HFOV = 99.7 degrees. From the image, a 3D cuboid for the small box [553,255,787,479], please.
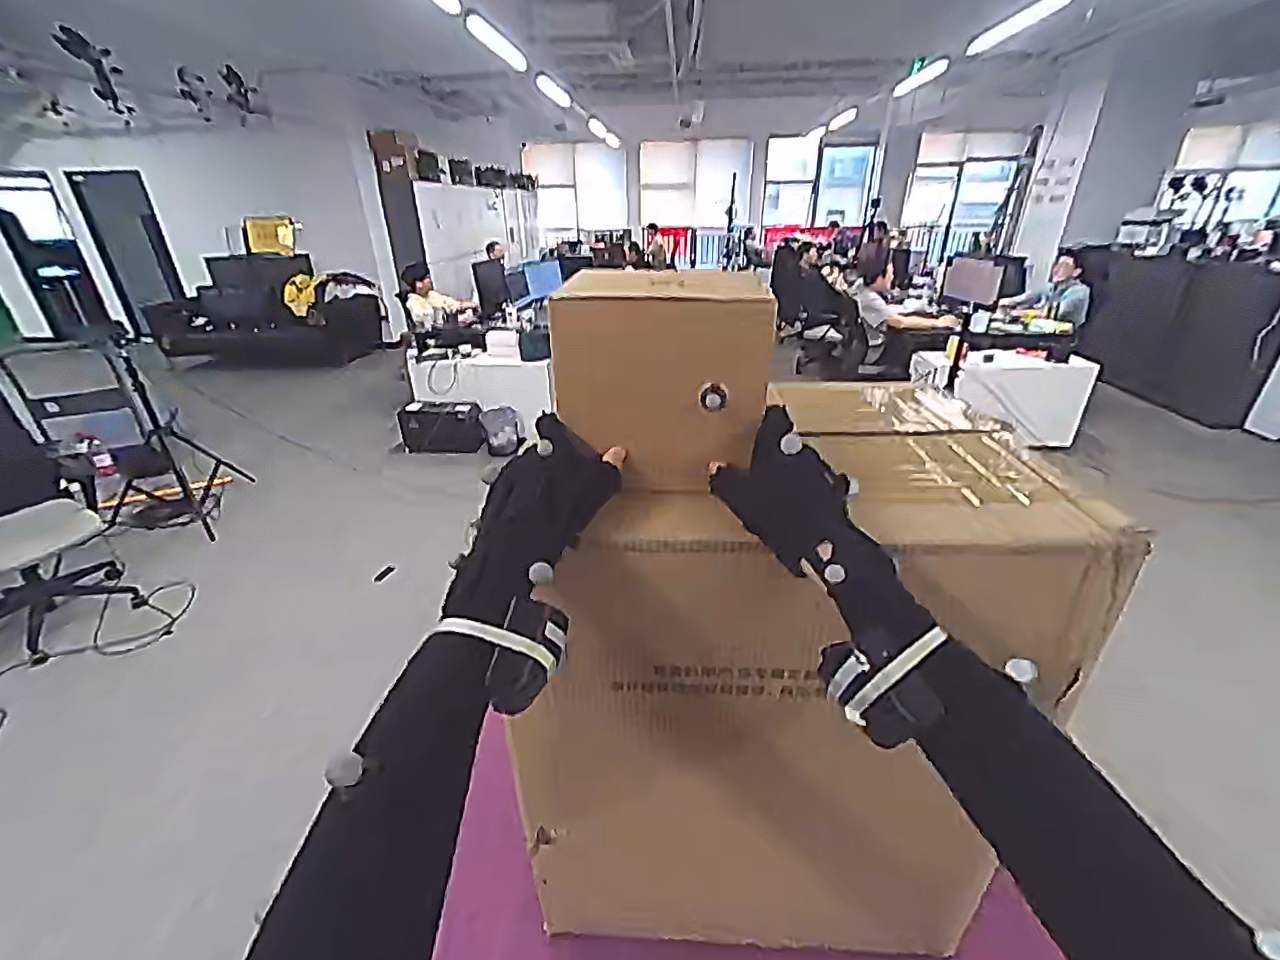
[{"bbox_3d":[0.028,-0.109,0.505,0.179,0.176,0.168,1,27,4],"label":"small box"}]
